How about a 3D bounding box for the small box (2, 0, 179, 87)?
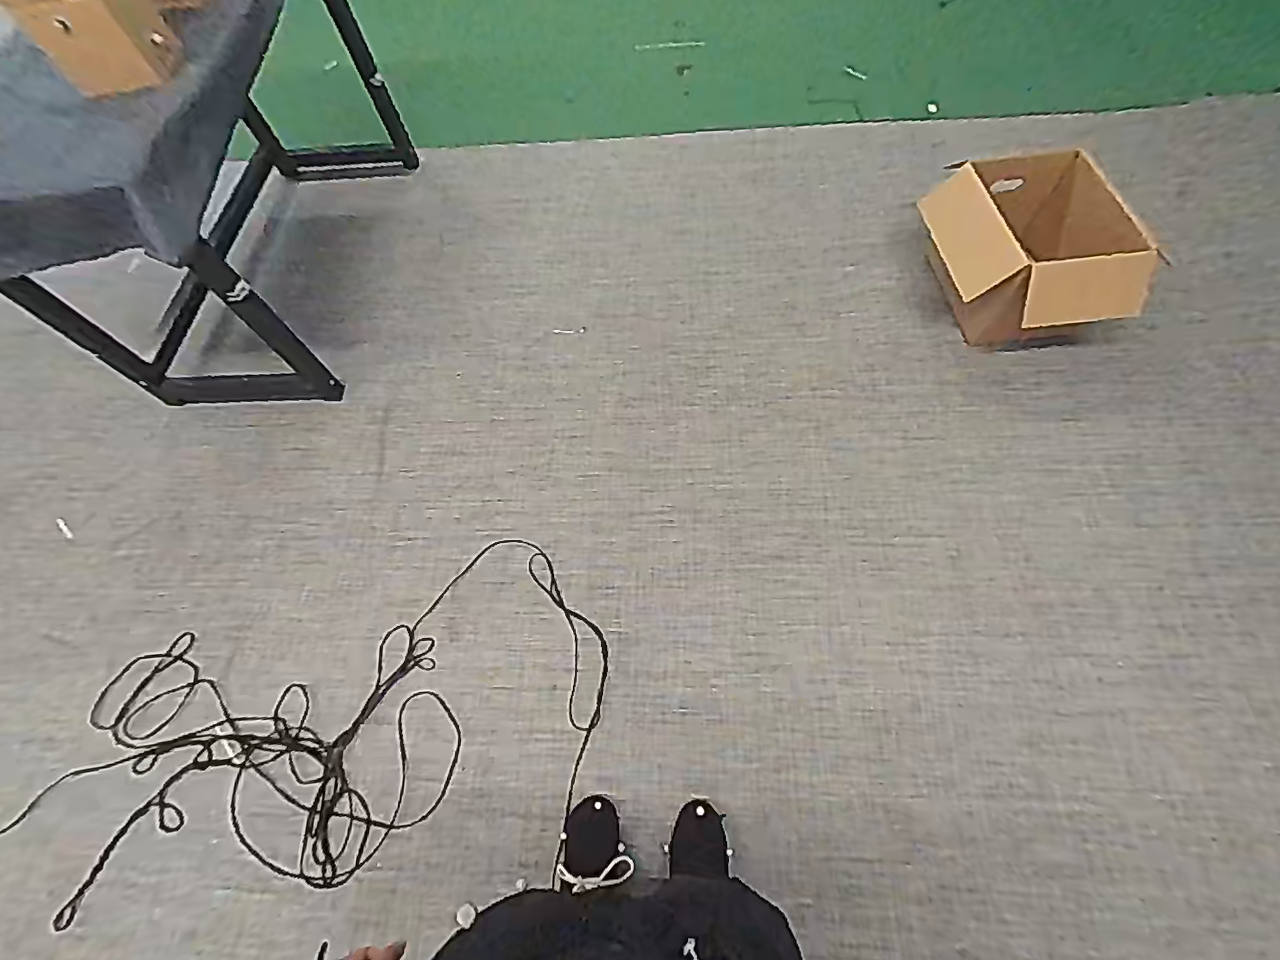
[{"bbox_3d":[-1.122,-0.949,1.117,0.179,0.176,0.168,-9,64,-1],"label":"small box"}]
